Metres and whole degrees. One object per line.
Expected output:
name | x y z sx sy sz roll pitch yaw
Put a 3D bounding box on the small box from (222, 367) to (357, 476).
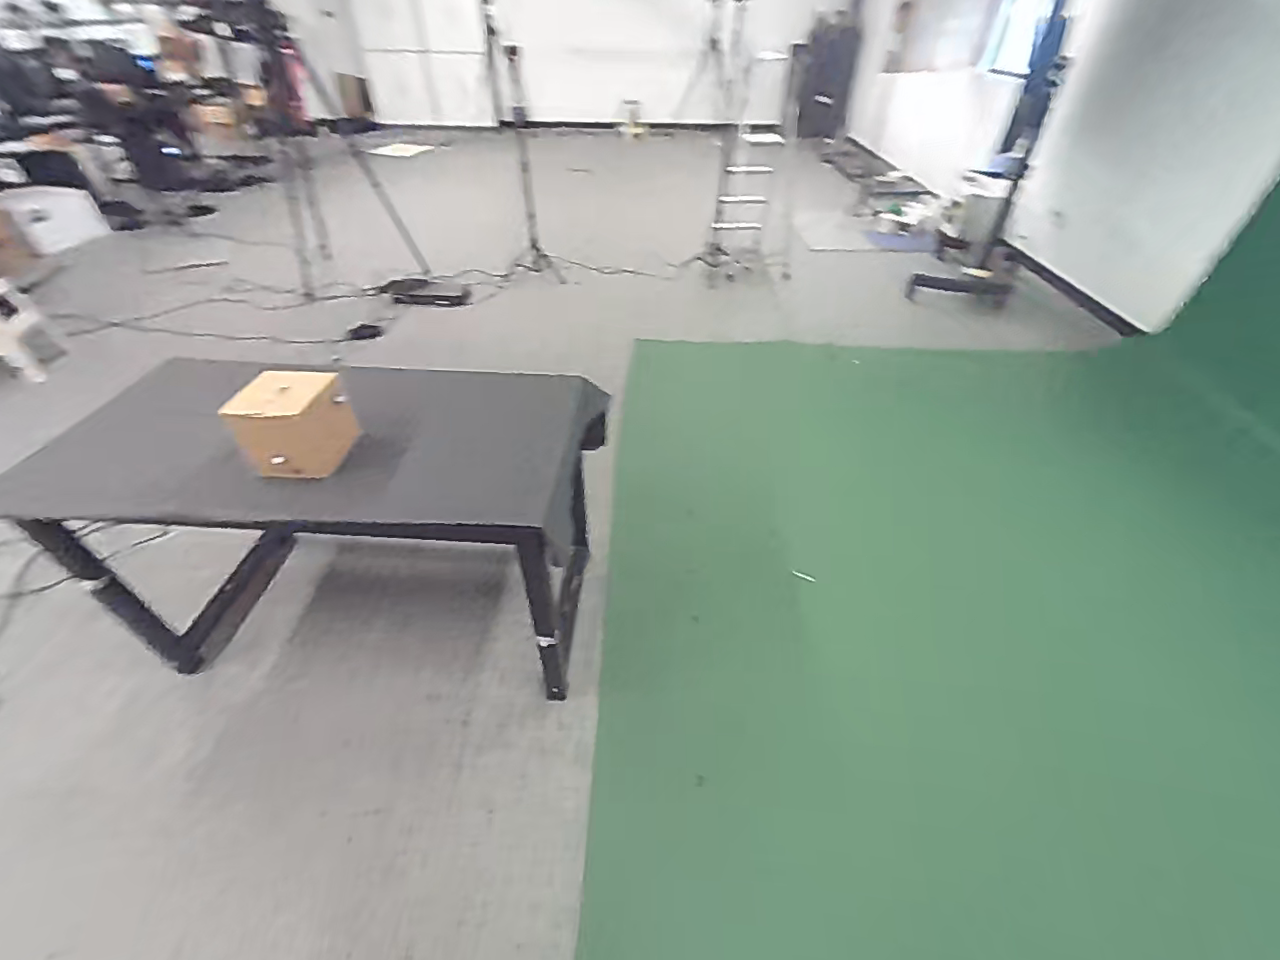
small box | -0.753 -0.131 1.191 0.168 0.176 0.179 3 41 2
